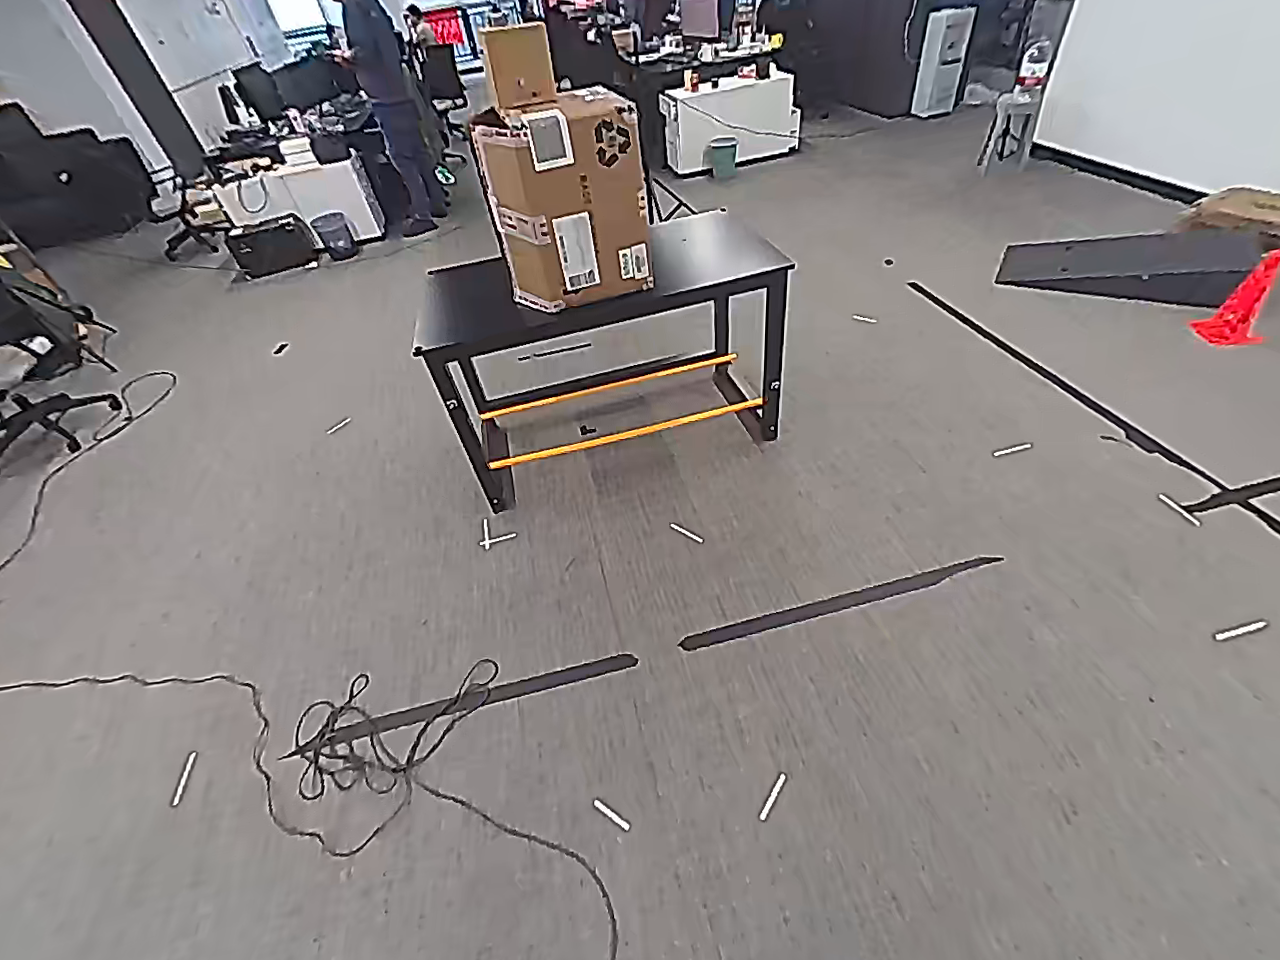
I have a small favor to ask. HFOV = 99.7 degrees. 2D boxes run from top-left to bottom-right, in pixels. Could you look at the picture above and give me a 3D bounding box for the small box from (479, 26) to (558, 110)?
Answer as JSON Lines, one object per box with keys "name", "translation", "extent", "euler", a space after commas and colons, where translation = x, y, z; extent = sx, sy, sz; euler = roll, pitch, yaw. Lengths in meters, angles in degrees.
{"name": "small box", "translation": [-0.337, -1.143, 1.503], "extent": [0.168, 0.176, 0.179], "euler": [-17, 43, -10]}
